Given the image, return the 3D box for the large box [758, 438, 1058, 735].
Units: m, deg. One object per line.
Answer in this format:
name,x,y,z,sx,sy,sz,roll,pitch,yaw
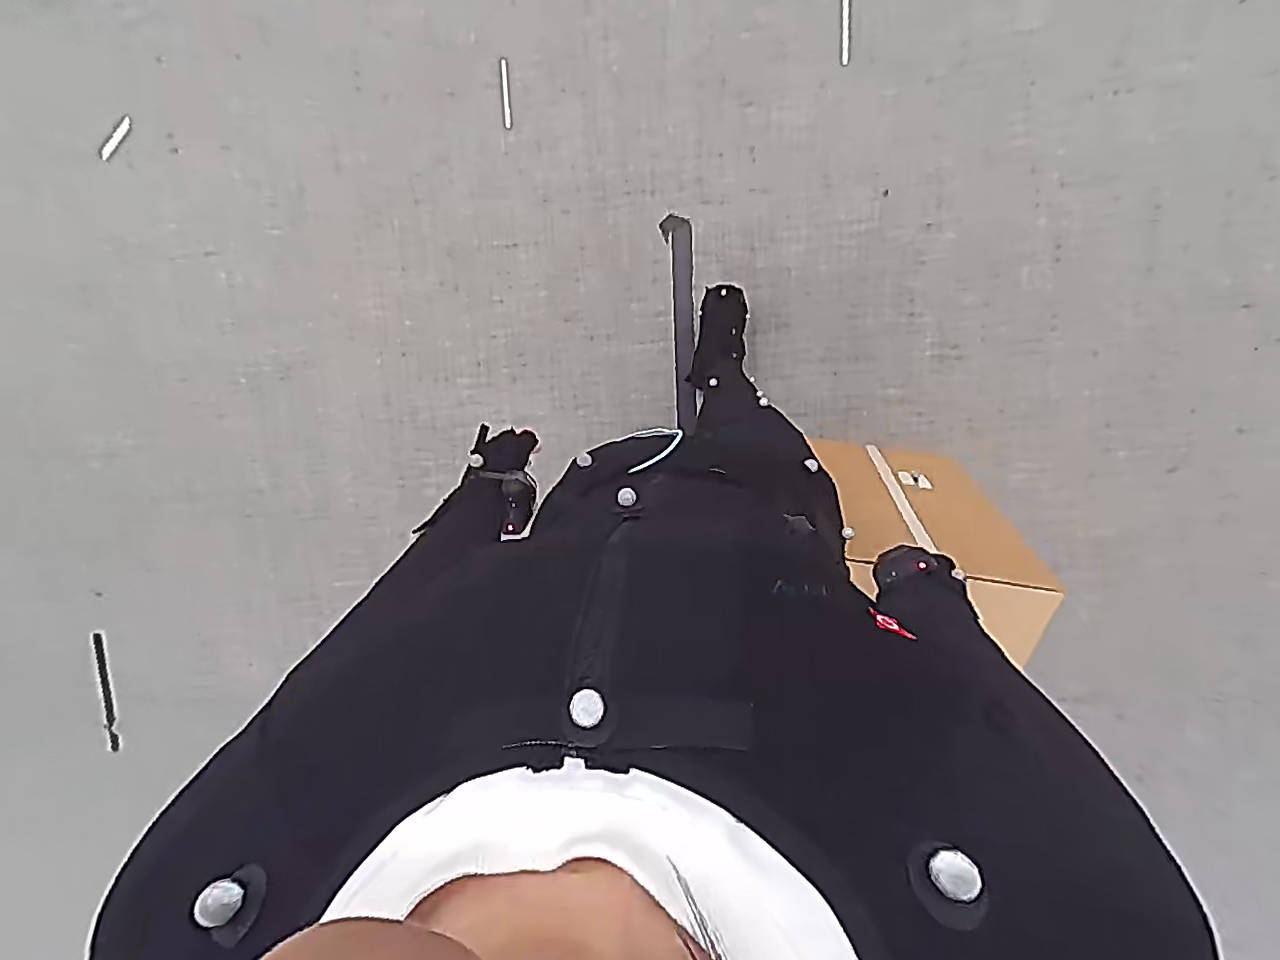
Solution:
large box,0.393,0.156,0.934,0.320,0.408,0.320,9,116,4
